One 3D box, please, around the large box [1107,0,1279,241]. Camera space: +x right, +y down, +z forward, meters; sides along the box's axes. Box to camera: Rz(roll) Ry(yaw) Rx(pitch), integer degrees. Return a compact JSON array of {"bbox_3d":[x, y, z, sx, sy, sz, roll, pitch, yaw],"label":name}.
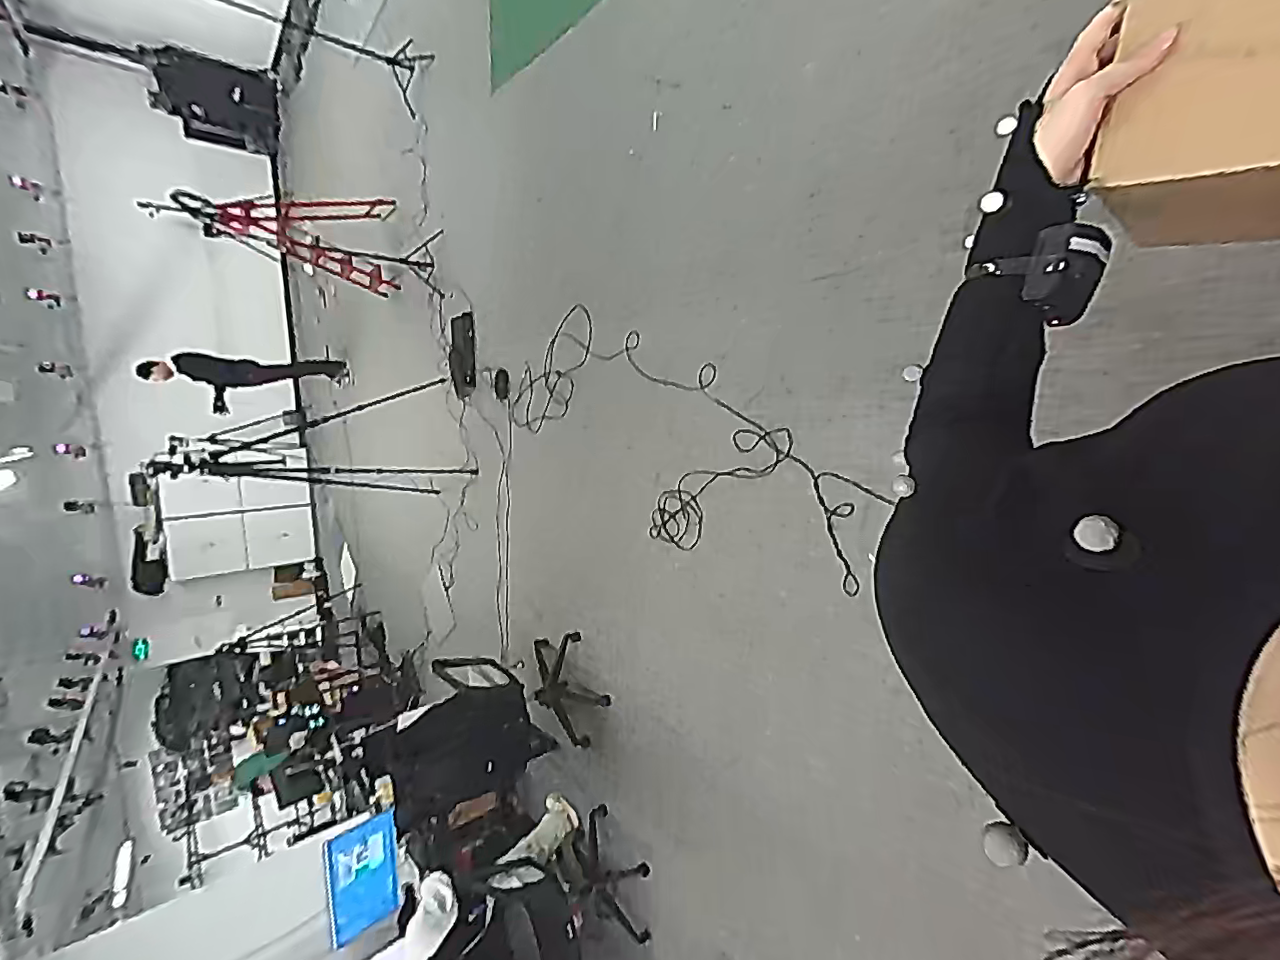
[{"bbox_3d":[0.609,-0.365,0.352,0.408,0.320,0.320,16,110,43],"label":"large box"}]
